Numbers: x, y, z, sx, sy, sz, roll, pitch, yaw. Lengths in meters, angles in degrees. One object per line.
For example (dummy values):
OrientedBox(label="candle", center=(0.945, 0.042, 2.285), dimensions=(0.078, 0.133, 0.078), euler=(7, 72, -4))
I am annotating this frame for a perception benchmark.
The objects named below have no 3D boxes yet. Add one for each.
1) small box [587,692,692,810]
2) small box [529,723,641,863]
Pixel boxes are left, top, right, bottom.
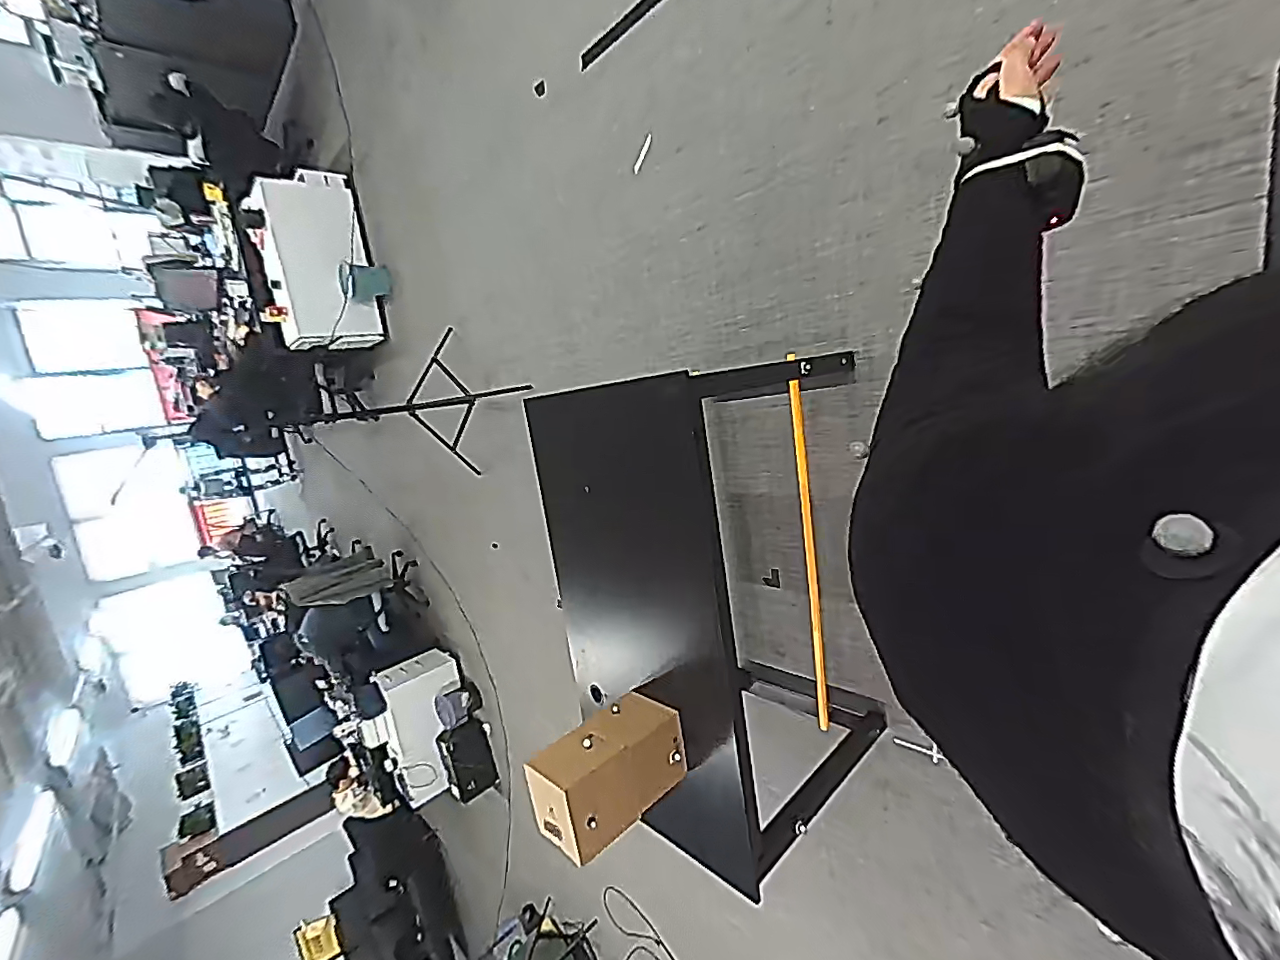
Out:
OrientedBox(label="small box", center=(0.000, 0.640, 1.305), dimensions=(0.179, 0.176, 0.168), euler=(-1, 103, 48))
OrientedBox(label="small box", center=(-0.117, 0.679, 1.195), dimensions=(0.168, 0.176, 0.179), euler=(-3, 101, 49))
